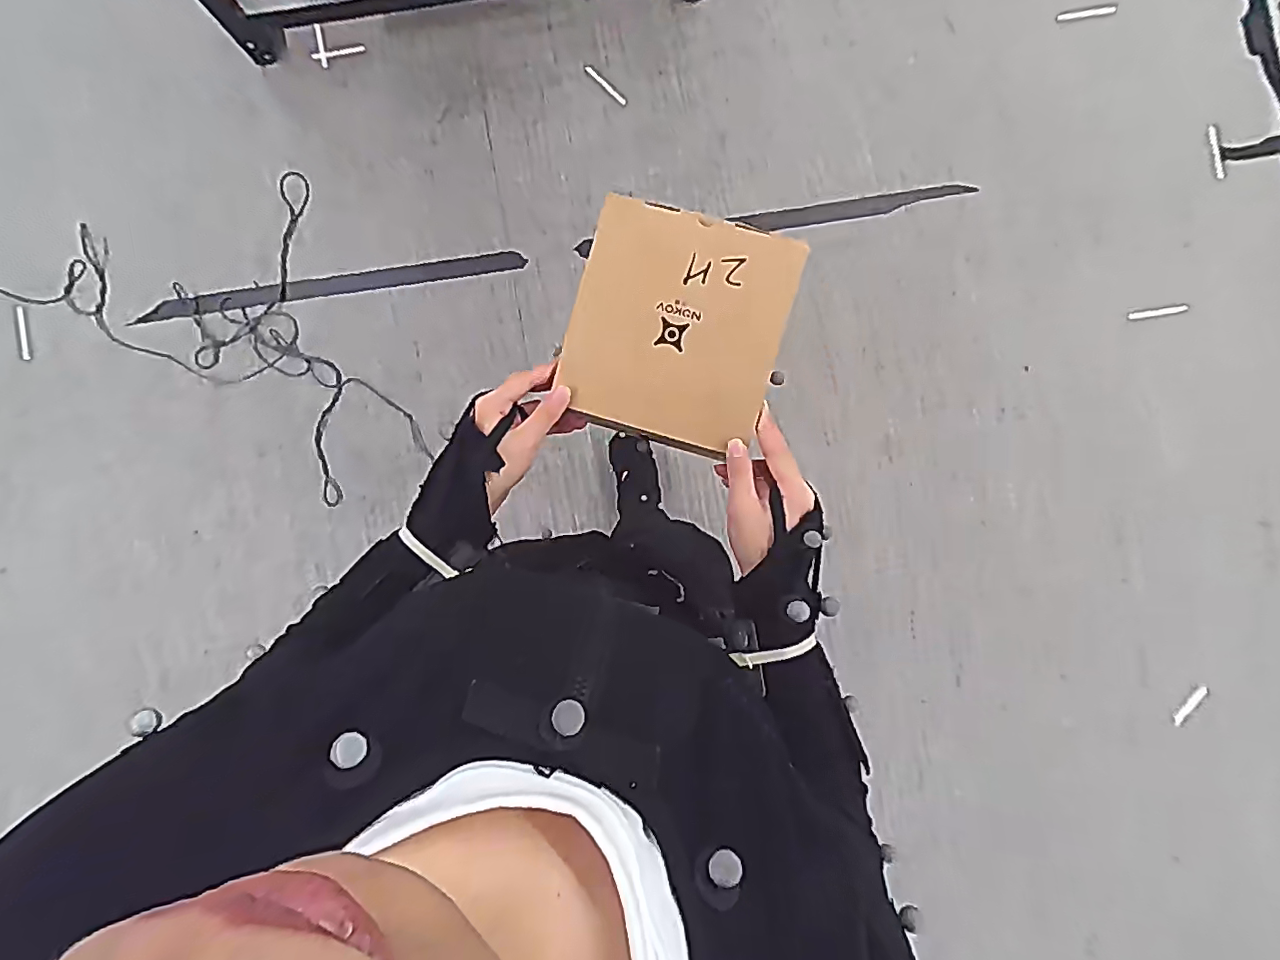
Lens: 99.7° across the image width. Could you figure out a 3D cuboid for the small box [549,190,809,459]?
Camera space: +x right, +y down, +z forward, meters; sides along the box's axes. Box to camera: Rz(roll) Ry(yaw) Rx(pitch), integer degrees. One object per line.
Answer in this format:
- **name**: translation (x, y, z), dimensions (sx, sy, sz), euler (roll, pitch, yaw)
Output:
- **small box**: translation (0.035, -0.123, 0.499), dimensions (0.168, 0.176, 0.179), euler (17, 91, 4)
